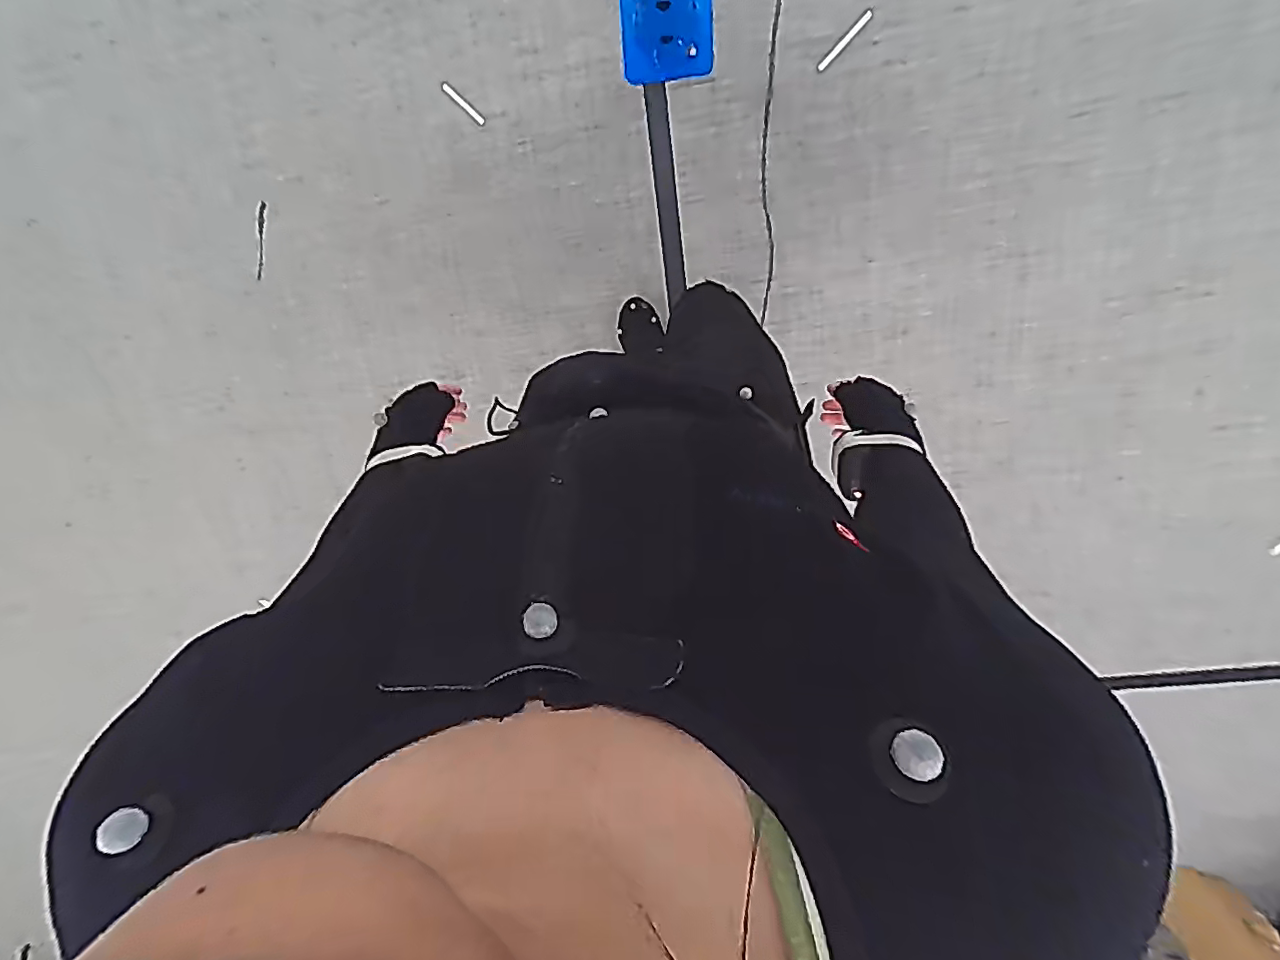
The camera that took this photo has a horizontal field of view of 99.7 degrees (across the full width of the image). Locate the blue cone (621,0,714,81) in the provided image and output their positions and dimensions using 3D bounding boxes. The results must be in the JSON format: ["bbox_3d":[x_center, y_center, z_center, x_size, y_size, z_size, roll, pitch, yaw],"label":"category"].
[{"bbox_3d":[0.044,-0.928,1.000,0.193,0.380,0.192,-4,107,6],"label":"blue cone"}]
